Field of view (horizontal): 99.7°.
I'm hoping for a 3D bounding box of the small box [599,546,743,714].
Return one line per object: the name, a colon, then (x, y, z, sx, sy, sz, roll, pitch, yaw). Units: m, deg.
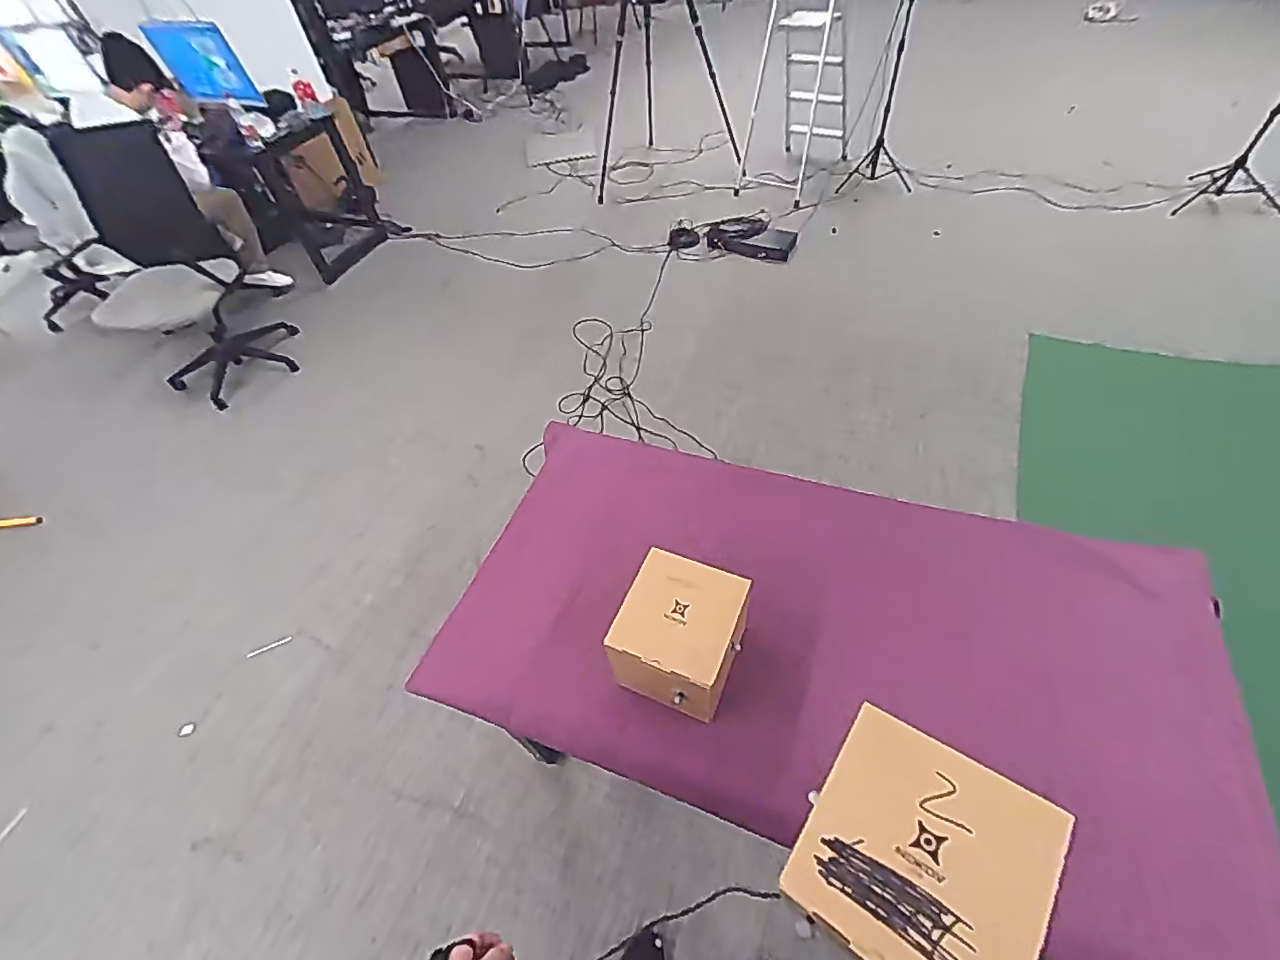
small box: (0.056, 0.240, 0.855, 0.168, 0.176, 0.179, 17, 55, 19)
